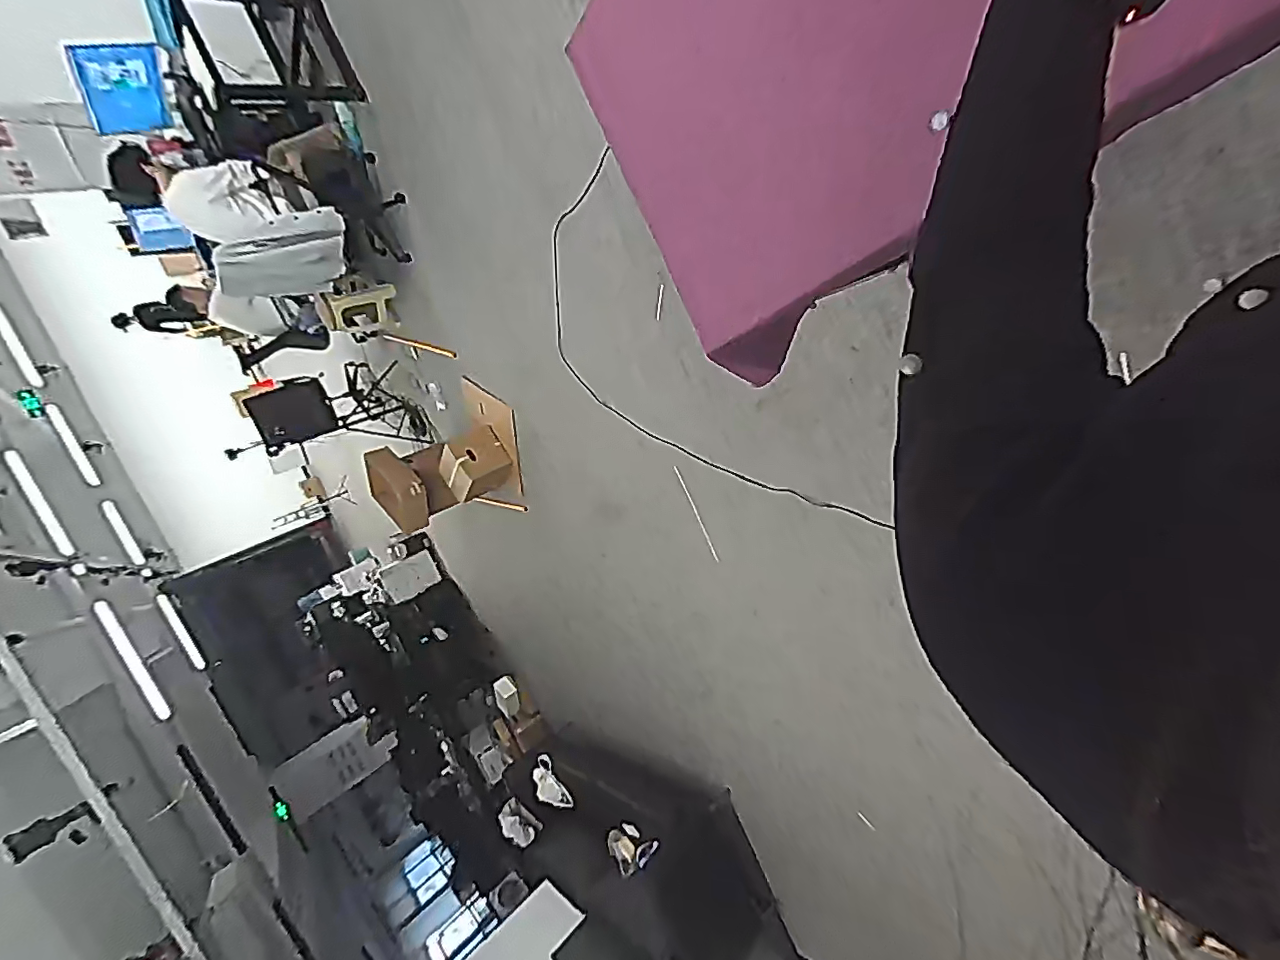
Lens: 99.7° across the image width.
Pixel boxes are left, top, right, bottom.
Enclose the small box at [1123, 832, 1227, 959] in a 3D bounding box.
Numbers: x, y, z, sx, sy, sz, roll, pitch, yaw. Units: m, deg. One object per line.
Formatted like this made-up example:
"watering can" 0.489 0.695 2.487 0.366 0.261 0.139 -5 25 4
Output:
"small box" 1.405 1.074 1.415 0.179 0.176 0.168 -5 108 52
